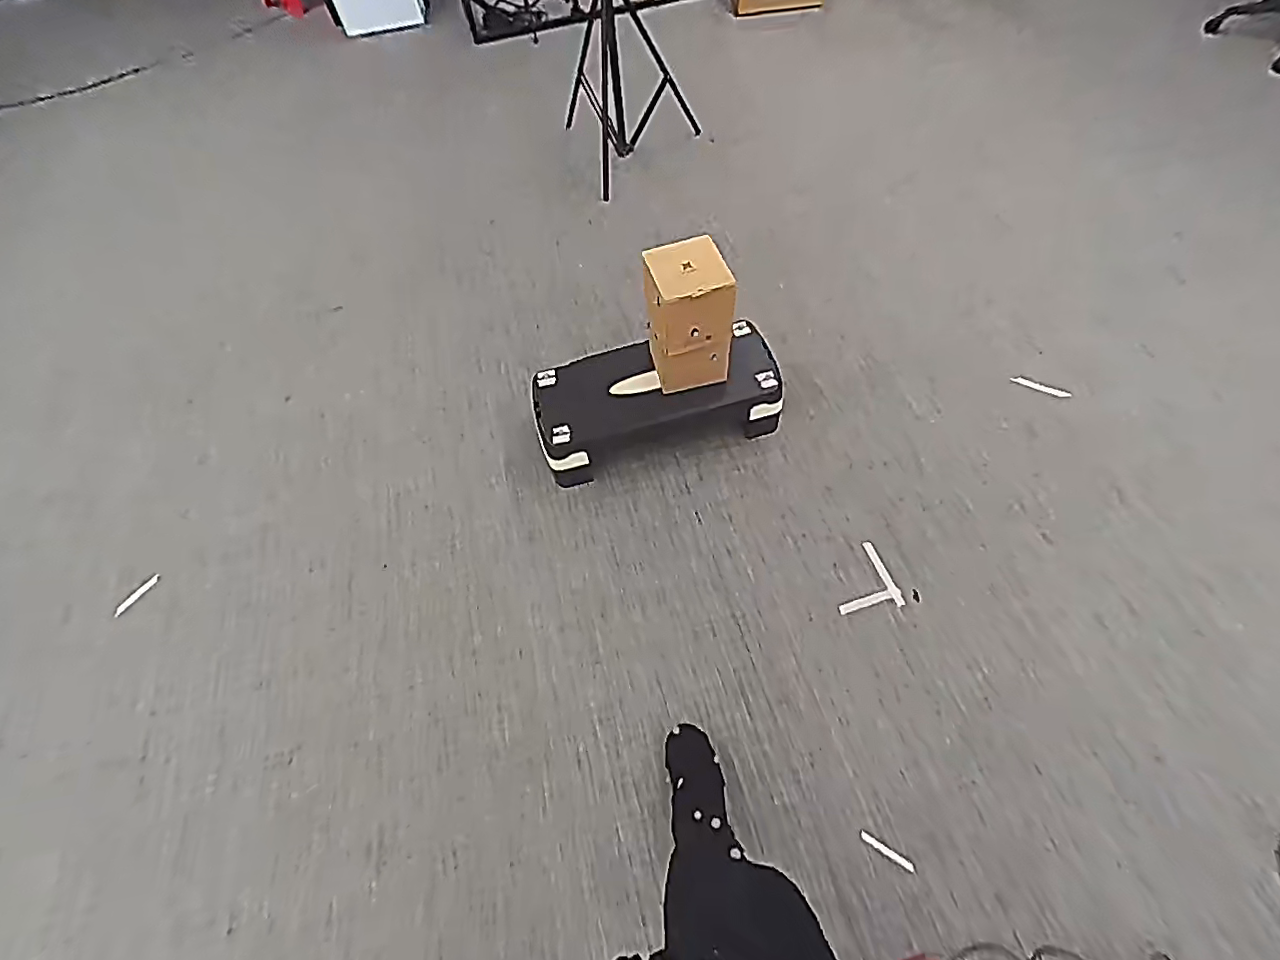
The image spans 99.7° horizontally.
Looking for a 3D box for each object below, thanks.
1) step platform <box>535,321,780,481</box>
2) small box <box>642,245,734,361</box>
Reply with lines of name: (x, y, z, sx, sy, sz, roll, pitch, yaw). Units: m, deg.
step platform: (0.048, -0.232, 1.559, 0.684, 0.204, 0.286, -16, 59, -3)
small box: (0.107, -0.413, 1.269, 0.168, 0.176, 0.179, -17, 61, -6)
